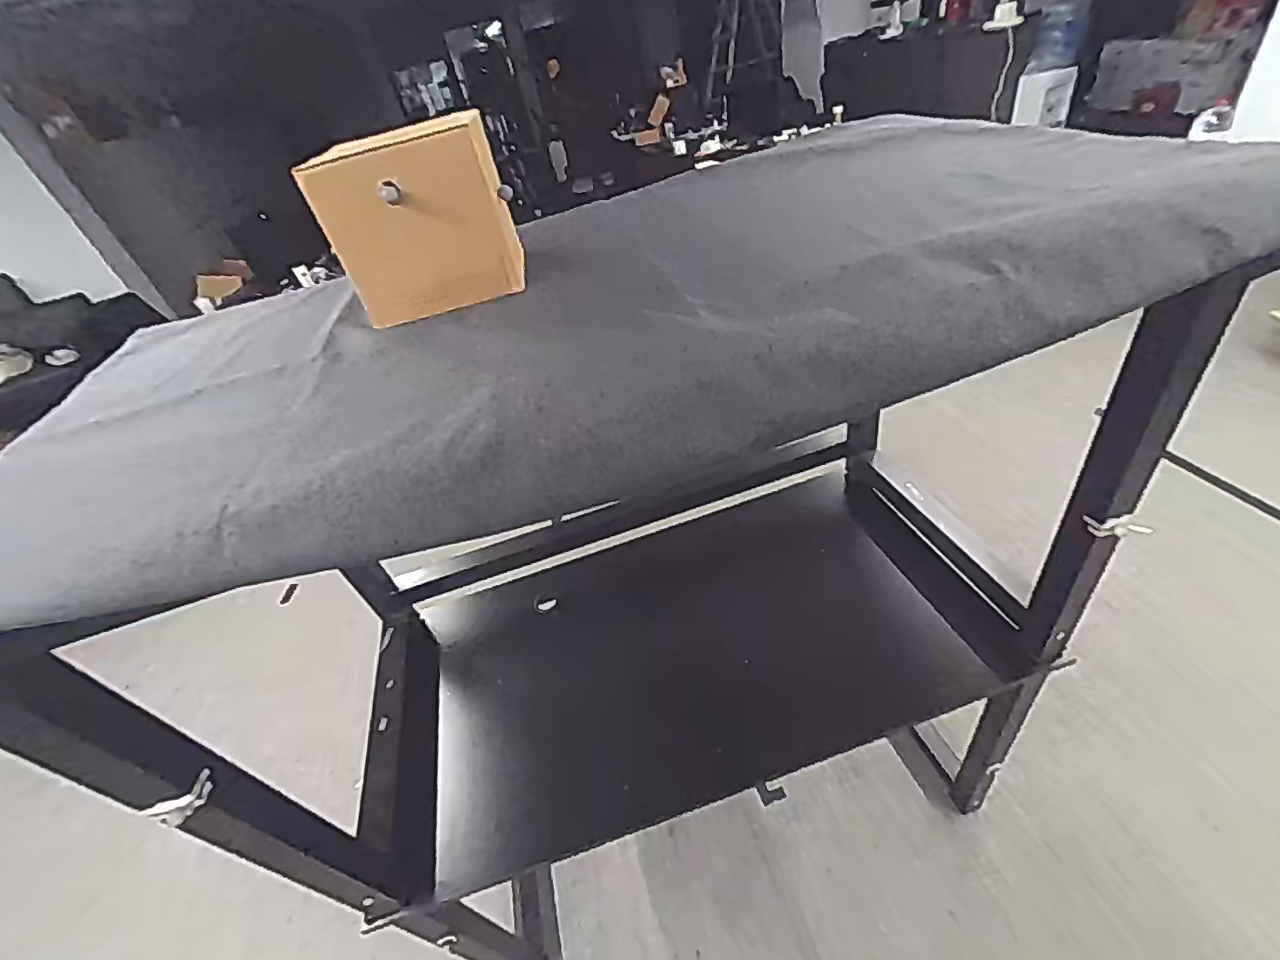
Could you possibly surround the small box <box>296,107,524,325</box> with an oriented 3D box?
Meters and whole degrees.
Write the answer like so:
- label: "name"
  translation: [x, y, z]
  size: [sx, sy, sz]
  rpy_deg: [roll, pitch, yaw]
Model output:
- label: "small box"
  translation: [-0.240, -0.302, 0.622]
  size: [0.179, 0.176, 0.168]
  rpy_deg: [-15, 39, 0]
